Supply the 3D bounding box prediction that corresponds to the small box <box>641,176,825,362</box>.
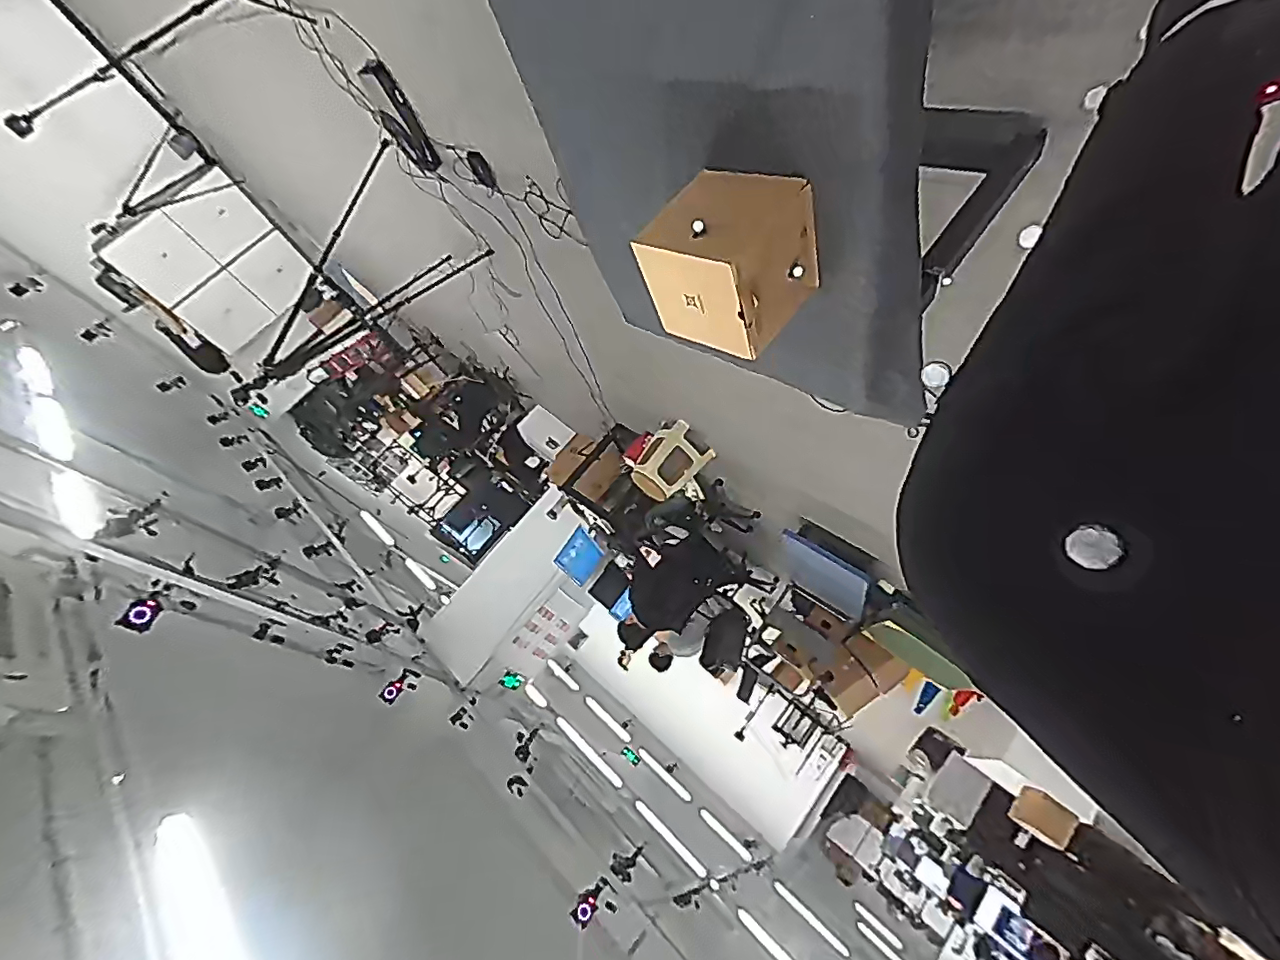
[{"bbox_3d":[0.136,-0.303,0.767,0.179,0.176,0.168,30,162,36],"label":"small box"}]
